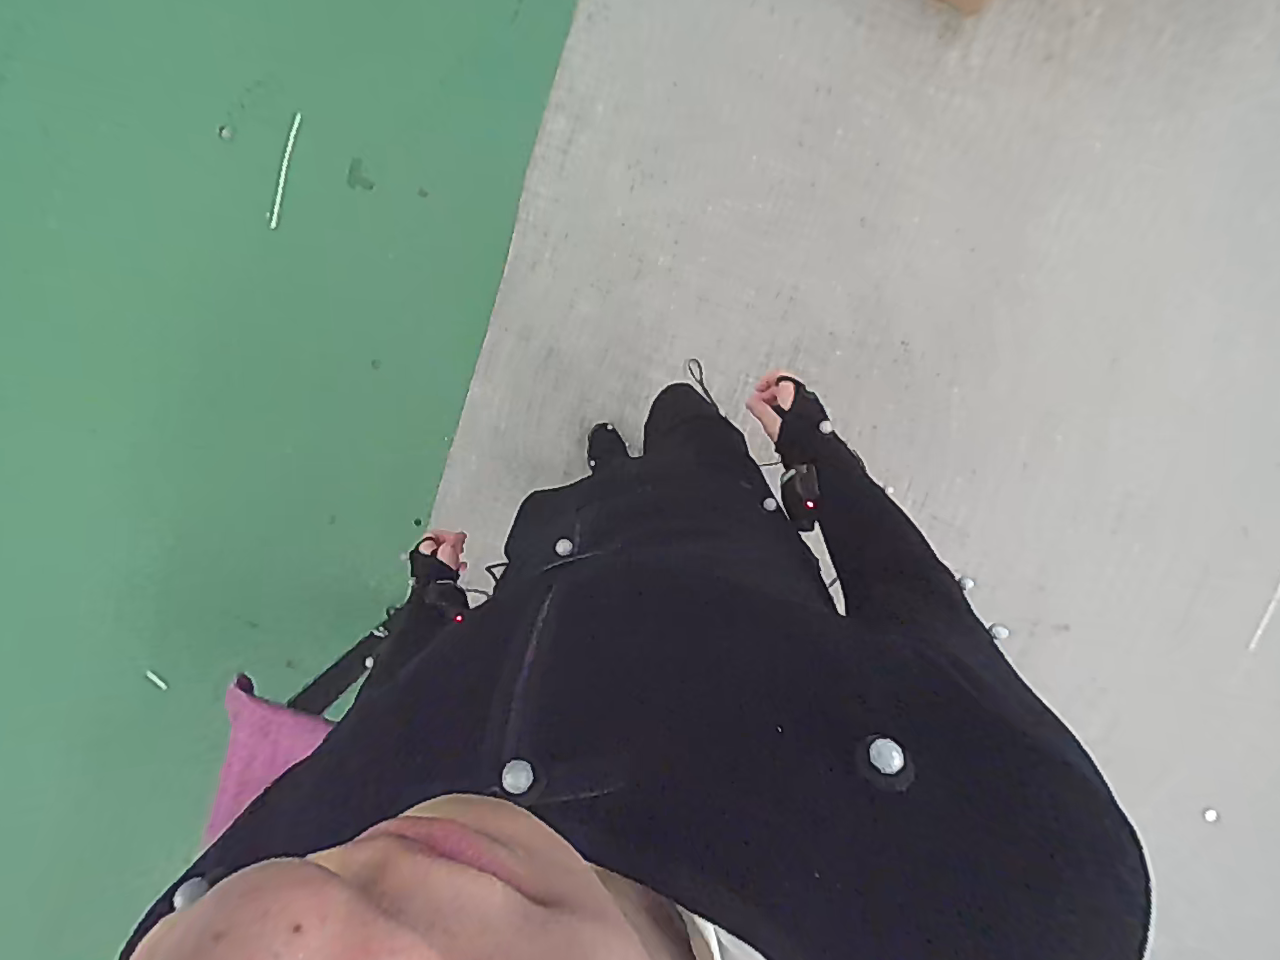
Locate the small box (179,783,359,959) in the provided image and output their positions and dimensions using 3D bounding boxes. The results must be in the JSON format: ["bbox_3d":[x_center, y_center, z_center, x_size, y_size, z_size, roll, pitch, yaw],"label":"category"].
[{"bbox_3d":[-0.596,0.651,0.892,0.168,0.176,0.179,20,99,-3],"label":"small box"}]
